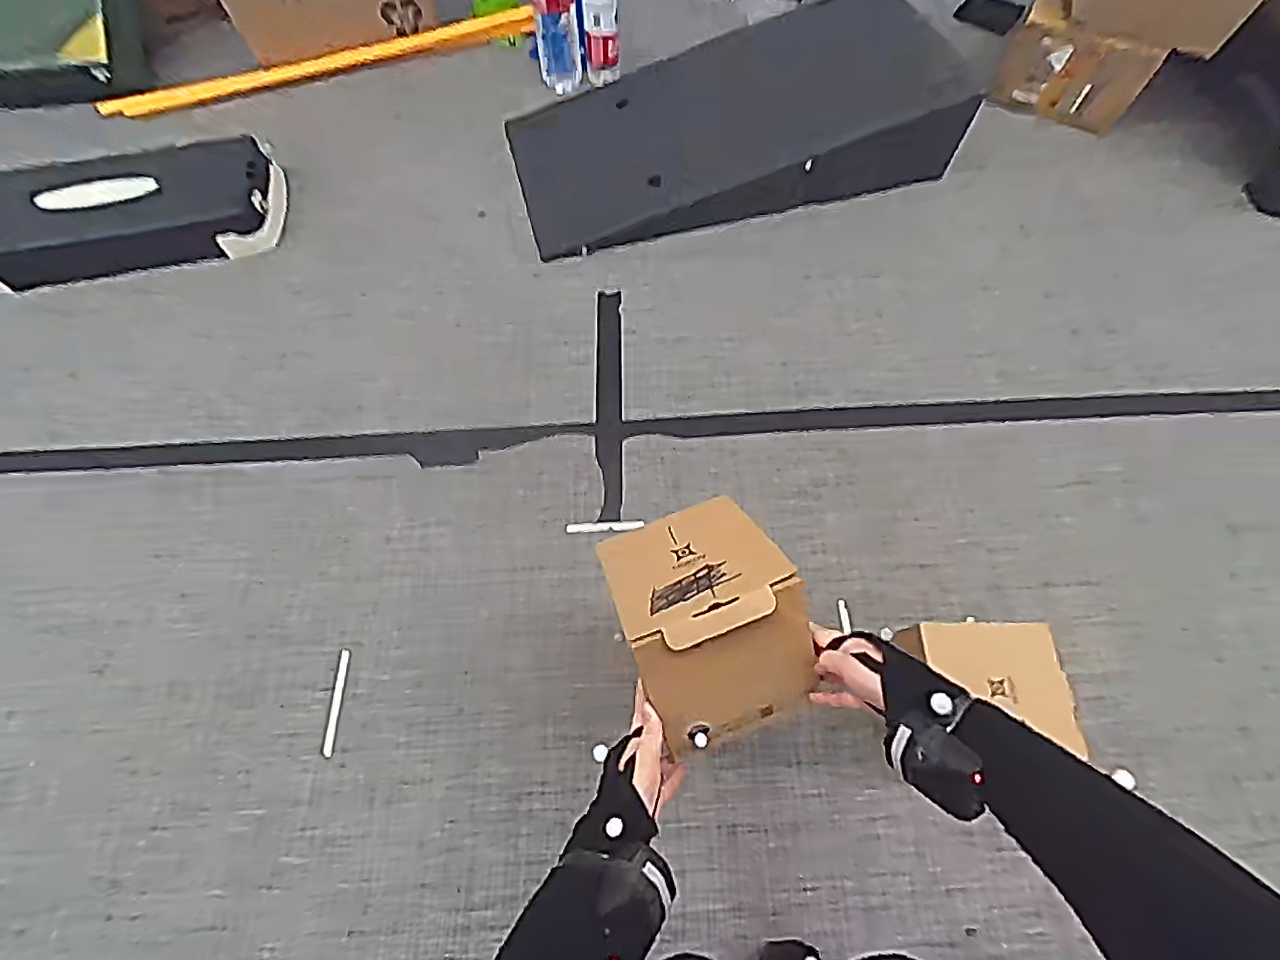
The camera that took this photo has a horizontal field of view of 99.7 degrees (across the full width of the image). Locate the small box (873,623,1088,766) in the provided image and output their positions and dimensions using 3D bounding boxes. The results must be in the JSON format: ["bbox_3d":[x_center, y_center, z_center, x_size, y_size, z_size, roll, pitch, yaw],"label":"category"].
[{"bbox_3d":[0.452,0.297,0.751,0.179,0.176,0.168,1,65,1],"label":"small box"}]

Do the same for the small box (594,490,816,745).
[{"bbox_3d":[0.065,0.142,0.563,0.168,0.176,0.179,-19,27,-5],"label":"small box"}]
